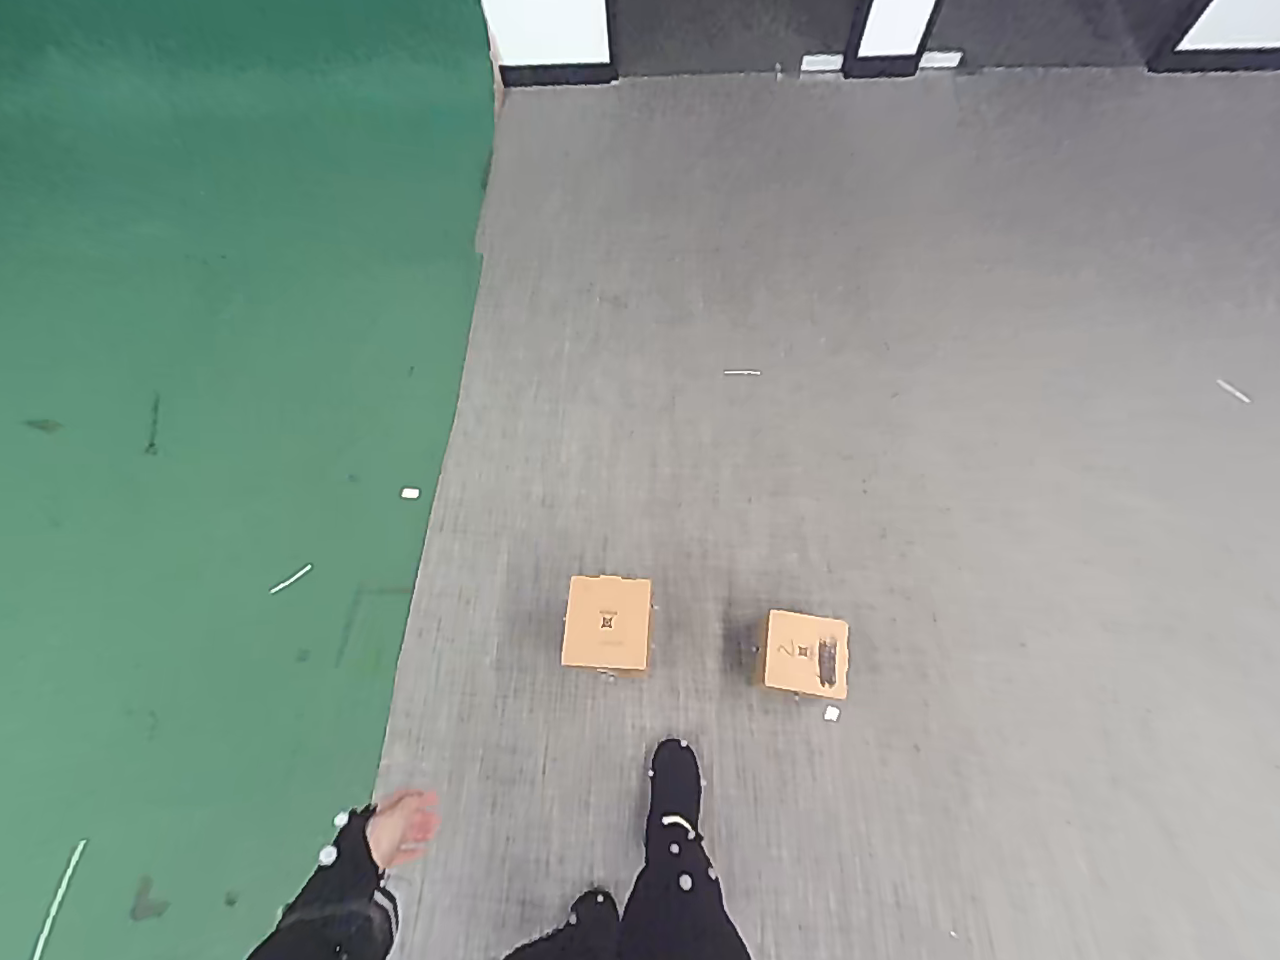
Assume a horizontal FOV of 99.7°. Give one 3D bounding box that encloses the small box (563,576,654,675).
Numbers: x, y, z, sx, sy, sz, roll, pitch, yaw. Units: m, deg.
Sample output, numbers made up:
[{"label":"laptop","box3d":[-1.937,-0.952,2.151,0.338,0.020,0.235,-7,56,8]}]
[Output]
[{"label":"small box","box3d":[-0.058,0.309,1.136,0.168,0.176,0.179,2,68,5]}]
